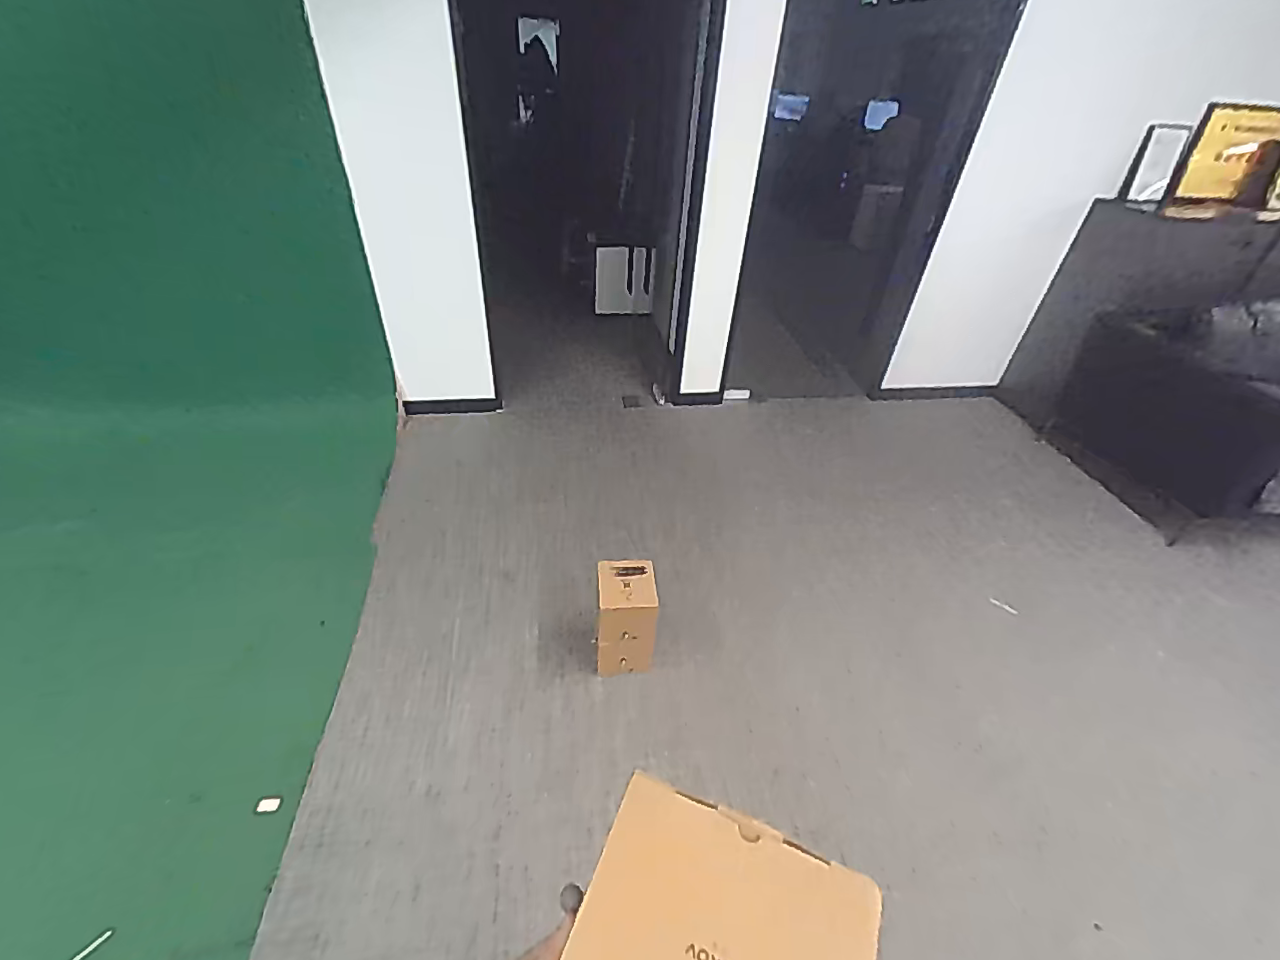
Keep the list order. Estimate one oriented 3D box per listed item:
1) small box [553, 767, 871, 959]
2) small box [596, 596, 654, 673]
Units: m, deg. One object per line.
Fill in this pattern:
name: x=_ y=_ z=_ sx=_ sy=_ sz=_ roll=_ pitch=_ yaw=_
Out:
small box: x=0.036 y=0.335 z=0.360 sx=0.168 sy=0.176 sz=0.179 roll=17 pitch=50 yaw=15
small box: x=-0.051 y=0.493 z=1.704 sx=0.168 sy=0.176 sz=0.179 roll=-2 pitch=40 yaw=-8
